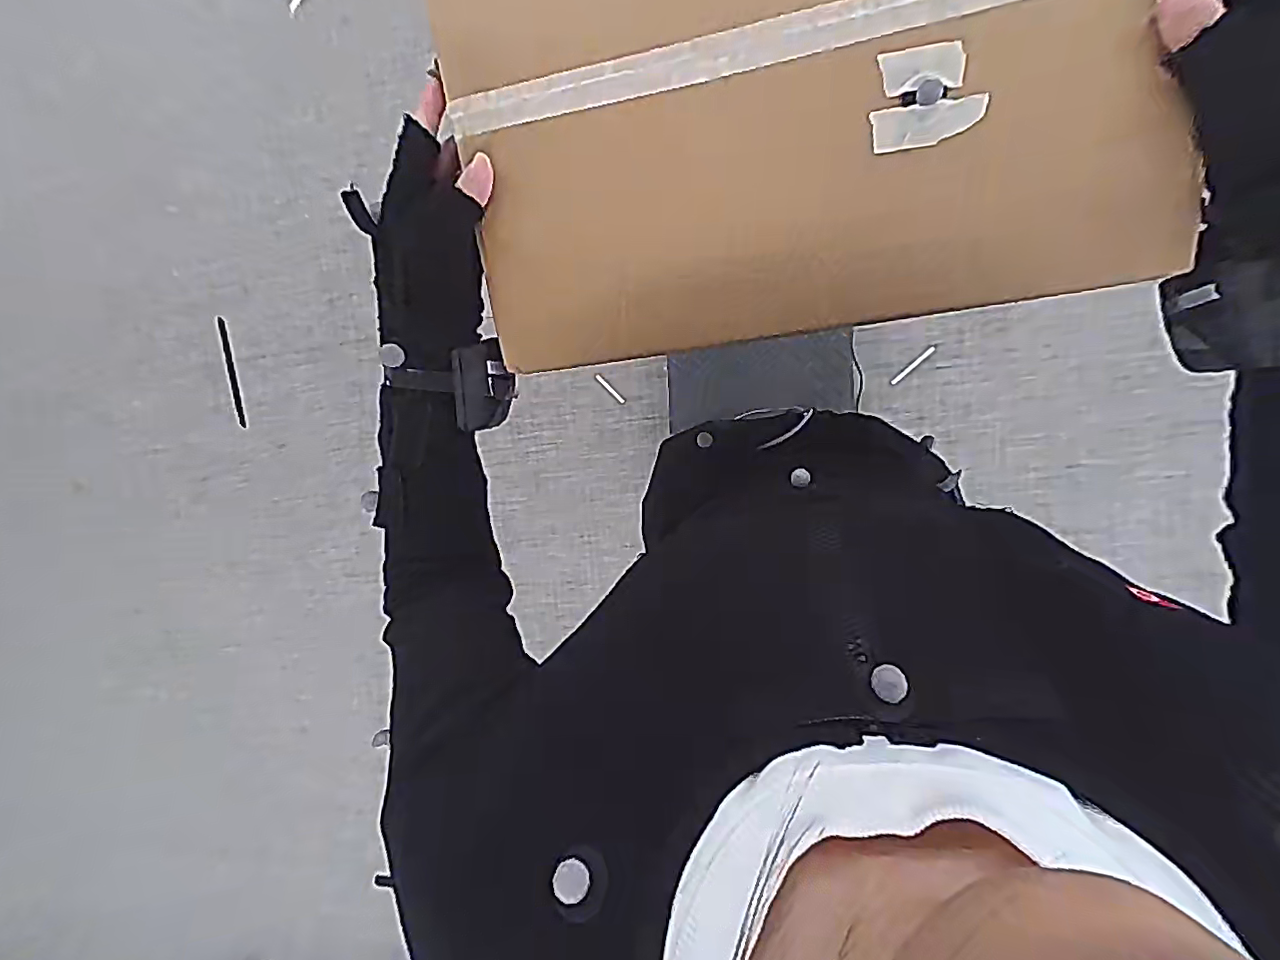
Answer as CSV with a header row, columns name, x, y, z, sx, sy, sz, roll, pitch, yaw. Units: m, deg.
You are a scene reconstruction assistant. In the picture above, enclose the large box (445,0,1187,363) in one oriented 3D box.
name,x,y,z,sx,sy,sz,roll,pitch,yaw
large box,0.104,-0.290,0.452,0.408,0.320,0.320,-7,105,10
